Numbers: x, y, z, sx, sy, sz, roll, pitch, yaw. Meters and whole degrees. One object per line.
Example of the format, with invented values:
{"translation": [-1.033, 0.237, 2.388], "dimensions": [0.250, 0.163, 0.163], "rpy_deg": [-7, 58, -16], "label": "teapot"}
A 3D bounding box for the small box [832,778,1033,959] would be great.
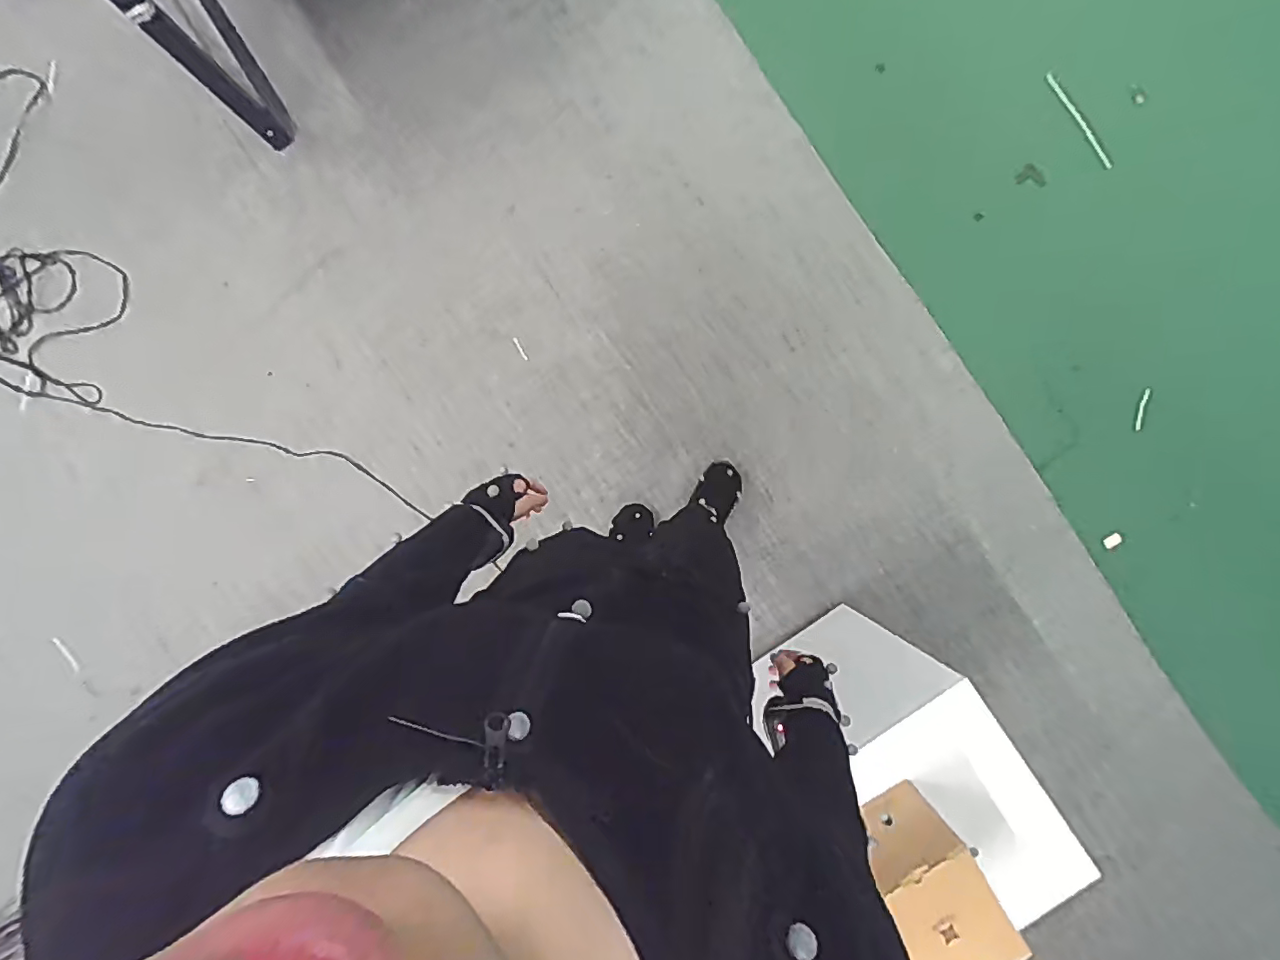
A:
{"translation": [0.424, 0.600, 0.813], "dimensions": [0.168, 0.176, 0.179], "rpy_deg": [-31, 90, 0], "label": "small box"}
